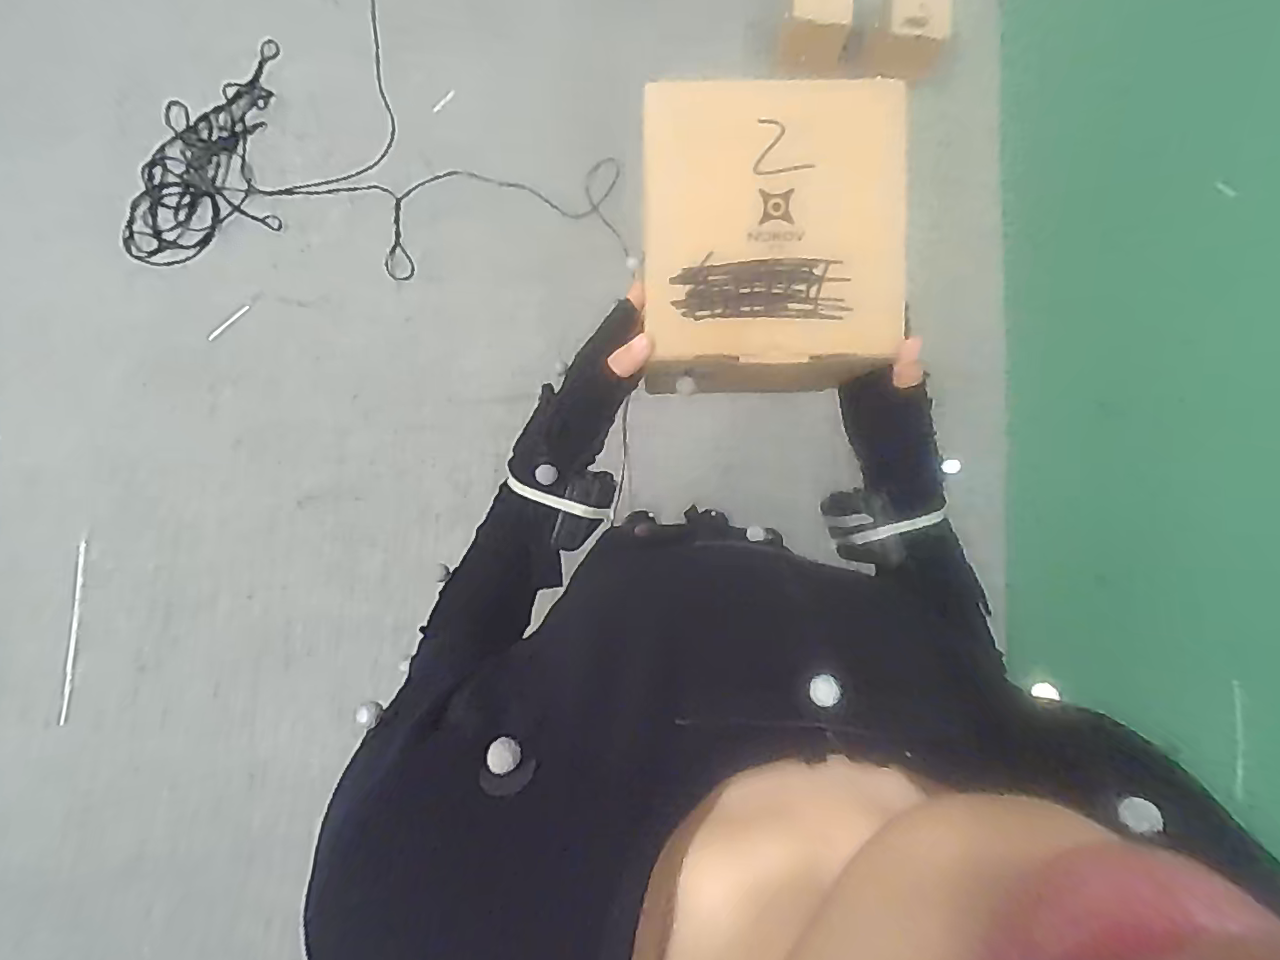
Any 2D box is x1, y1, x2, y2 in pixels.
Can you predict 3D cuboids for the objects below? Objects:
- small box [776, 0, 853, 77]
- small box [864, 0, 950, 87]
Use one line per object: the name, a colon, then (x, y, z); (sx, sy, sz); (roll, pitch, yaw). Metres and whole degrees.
small box: (0.497, -1.316, 1.552); (0.168, 0.176, 0.179); (5, 85, -2)
small box: (0.764, -1.282, 1.559); (0.168, 0.176, 0.179); (5, 84, -2)
